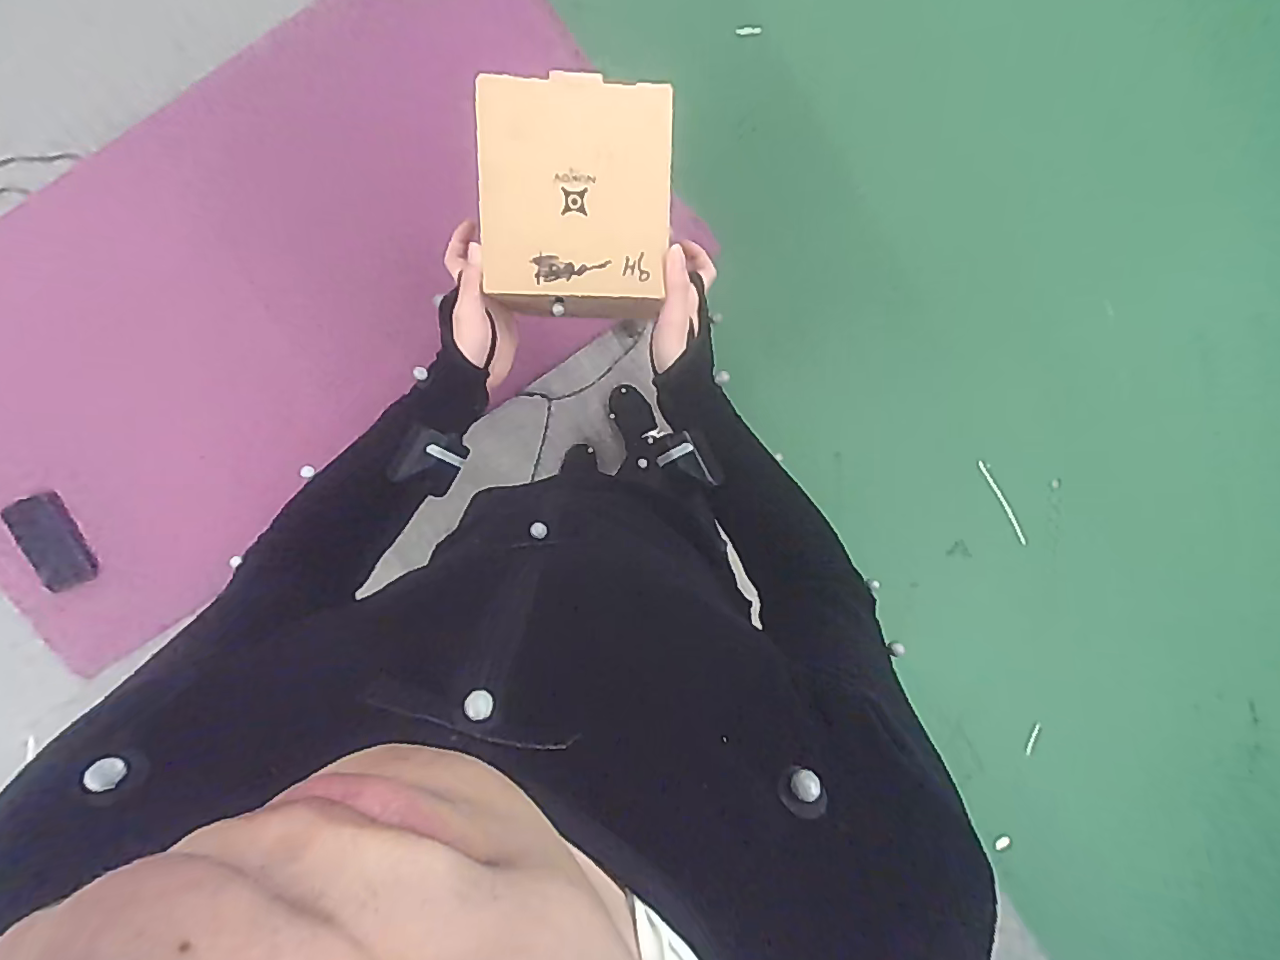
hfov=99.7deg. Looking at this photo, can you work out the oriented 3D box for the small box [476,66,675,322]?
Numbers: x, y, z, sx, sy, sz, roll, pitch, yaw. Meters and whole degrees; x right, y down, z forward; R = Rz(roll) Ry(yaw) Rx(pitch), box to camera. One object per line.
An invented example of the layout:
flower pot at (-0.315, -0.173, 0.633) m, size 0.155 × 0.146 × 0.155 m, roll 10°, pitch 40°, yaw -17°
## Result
small box at (-0.060, -0.259, 0.533) m, size 0.168 × 0.176 × 0.179 m, roll 1°, pitch 100°, yaw -3°
